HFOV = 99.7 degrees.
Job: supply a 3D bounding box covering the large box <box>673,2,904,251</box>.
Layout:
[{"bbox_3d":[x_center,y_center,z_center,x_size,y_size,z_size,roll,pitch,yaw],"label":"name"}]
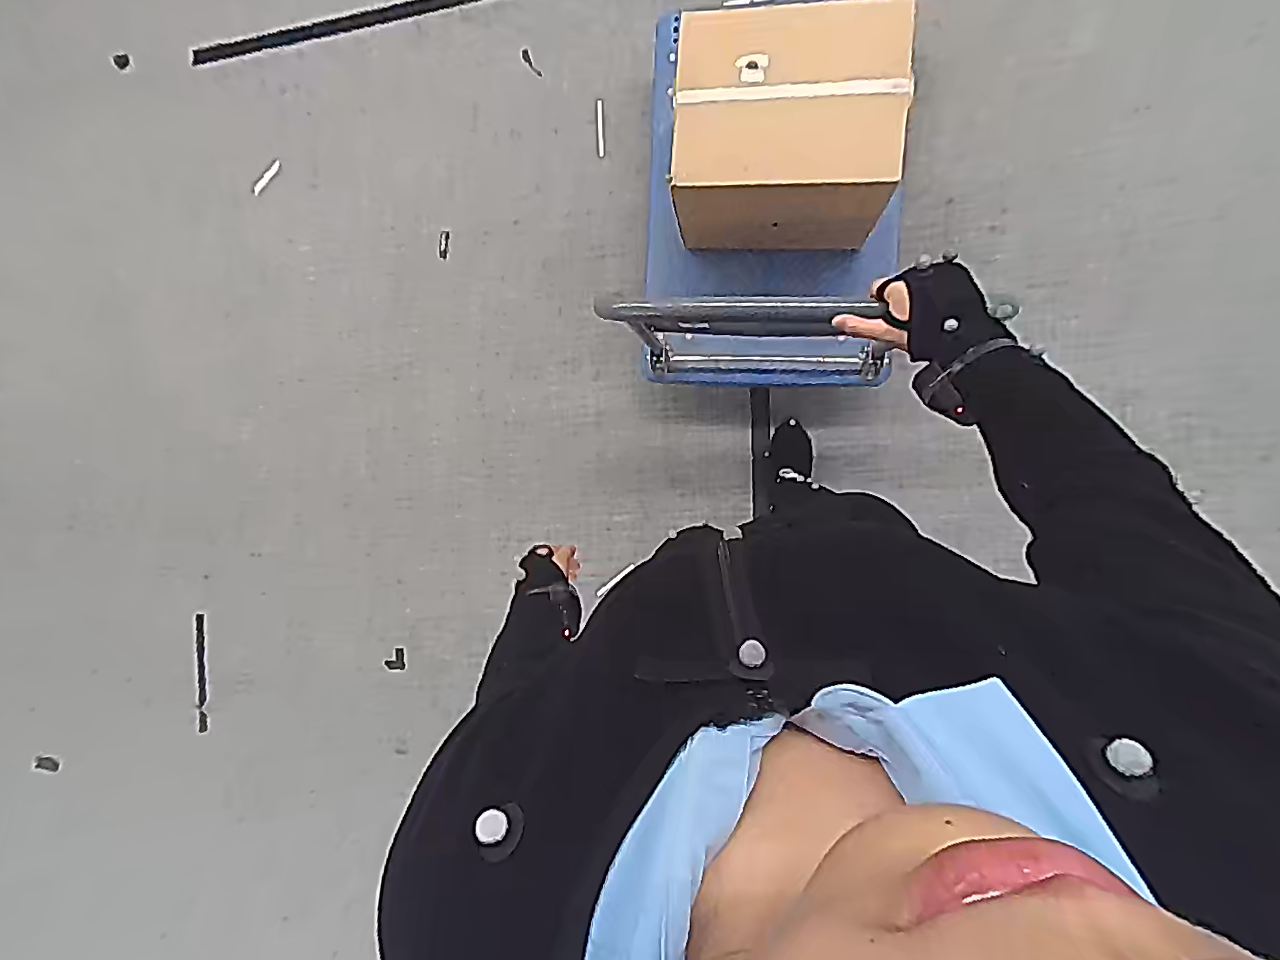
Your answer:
[{"bbox_3d":[0.292,-0.692,1.126,0.408,0.320,0.320,3,91,11],"label":"large box"}]
